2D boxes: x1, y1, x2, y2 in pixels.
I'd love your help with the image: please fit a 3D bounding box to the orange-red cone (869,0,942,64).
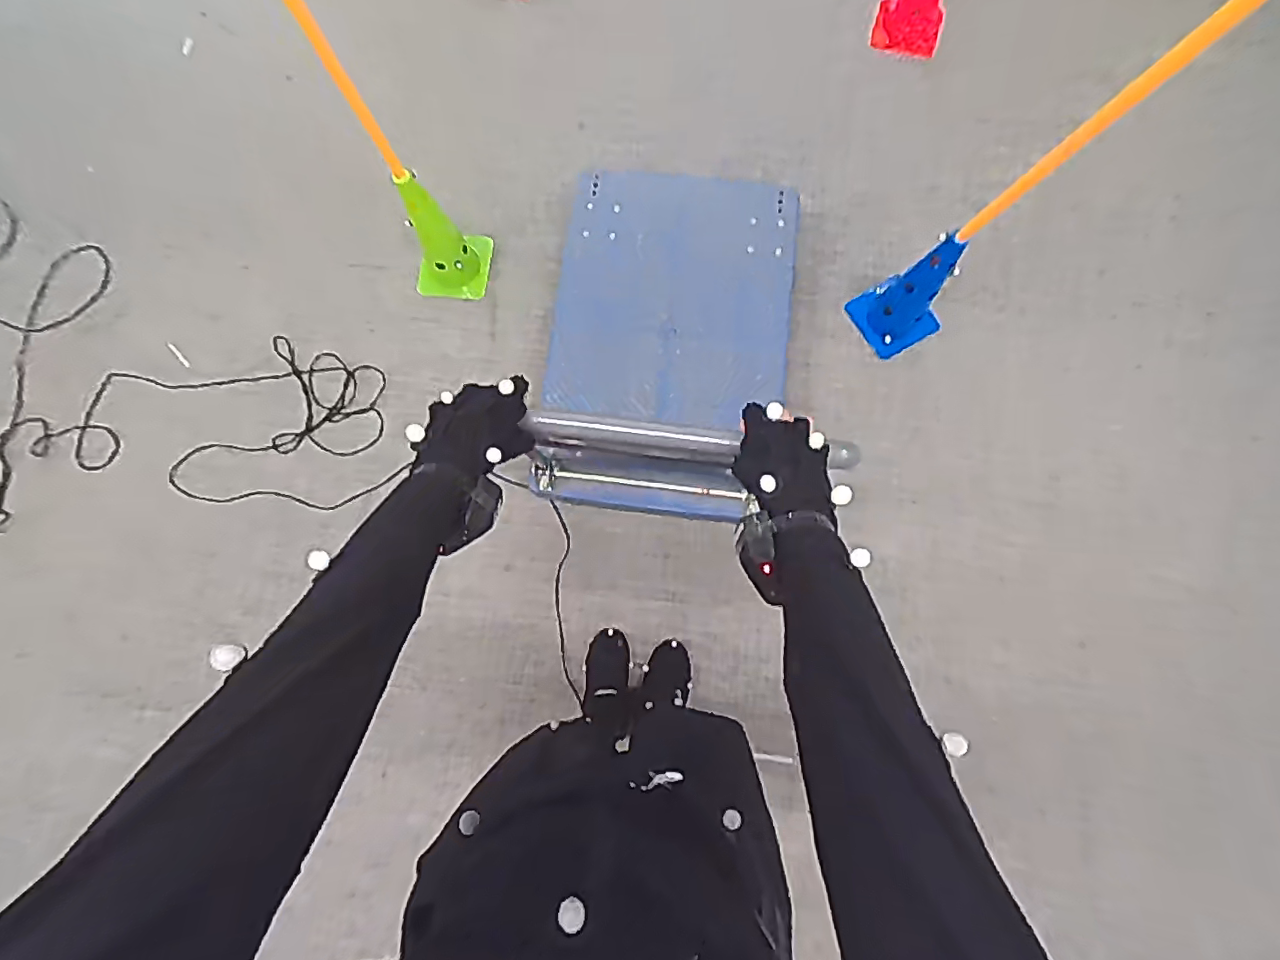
[{"bbox_3d":[0.826,-1.432,1.527,0.198,0.360,0.199,18,80,6],"label":"orange-red cone"}]
